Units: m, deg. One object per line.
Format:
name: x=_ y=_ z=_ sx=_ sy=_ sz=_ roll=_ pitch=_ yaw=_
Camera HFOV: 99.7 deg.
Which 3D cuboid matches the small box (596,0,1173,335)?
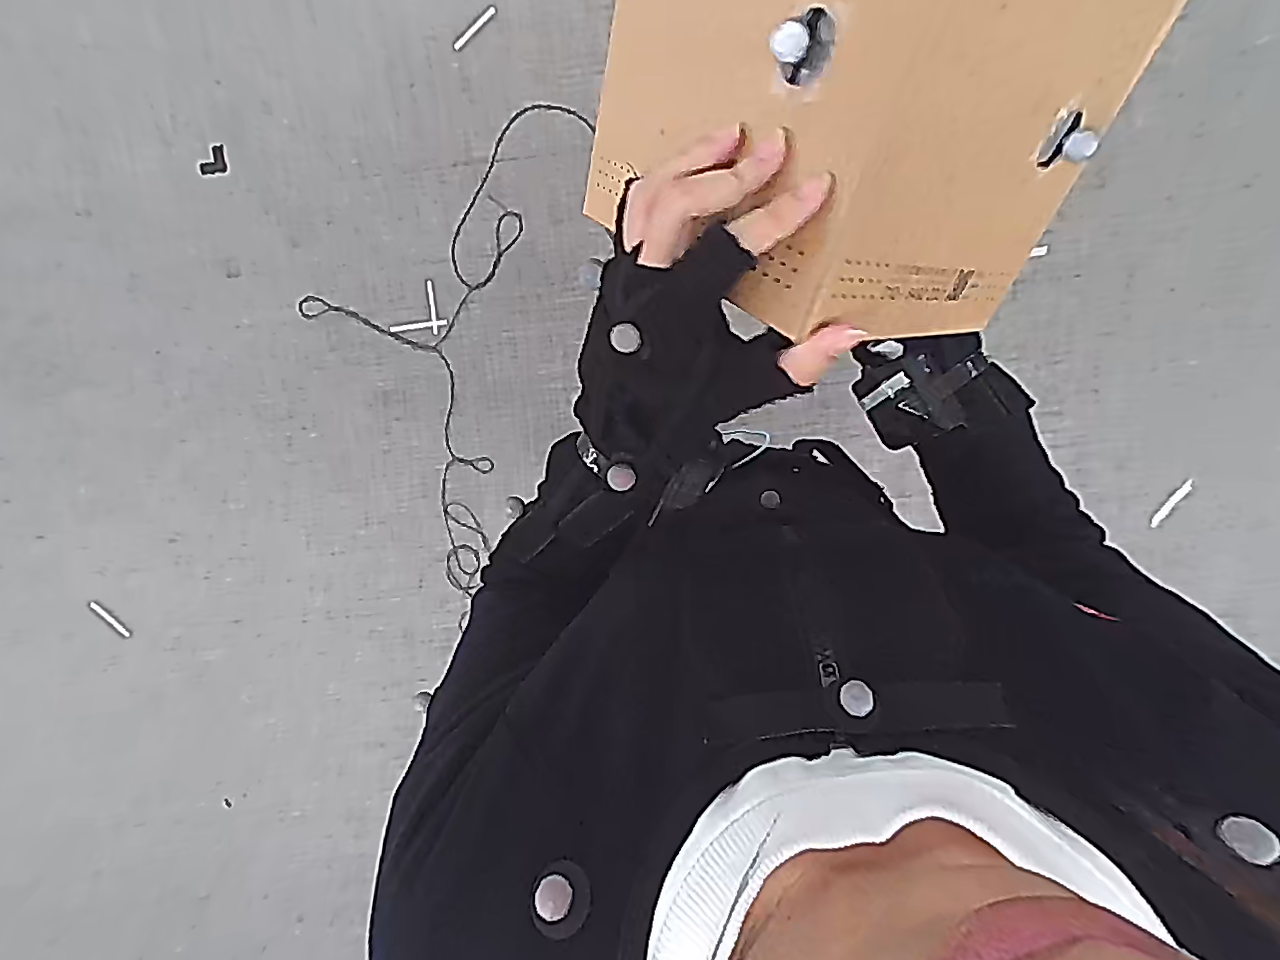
small box: x=0.099 y=-0.182 z=0.269 sx=0.168 sy=0.179 sz=0.176 roll=-13 pitch=134 yaw=-36
